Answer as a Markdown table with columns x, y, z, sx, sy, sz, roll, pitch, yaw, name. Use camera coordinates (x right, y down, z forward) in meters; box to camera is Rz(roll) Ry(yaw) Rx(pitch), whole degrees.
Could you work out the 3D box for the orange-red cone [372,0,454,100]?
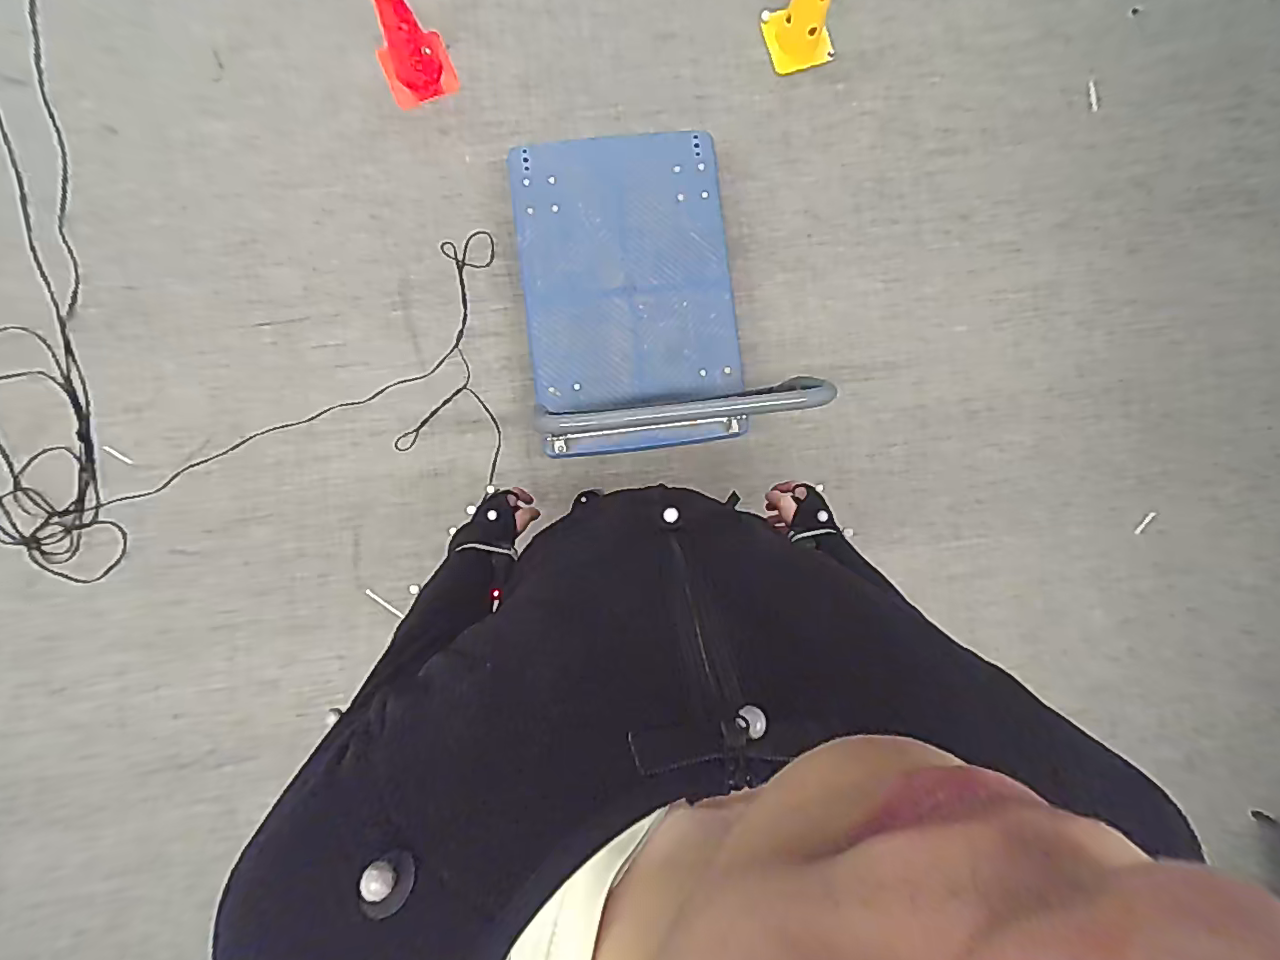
| x | y | z | sx | sy | sz | roll | pitch | yaw | name |
| --- | --- | --- | --- | --- | --- | --- | --- | --- | --- |
| -0.672 | -1.264 | 1.458 | 0.199 | 0.360 | 0.198 | -22 | 89 | -3 | orange-red cone |
